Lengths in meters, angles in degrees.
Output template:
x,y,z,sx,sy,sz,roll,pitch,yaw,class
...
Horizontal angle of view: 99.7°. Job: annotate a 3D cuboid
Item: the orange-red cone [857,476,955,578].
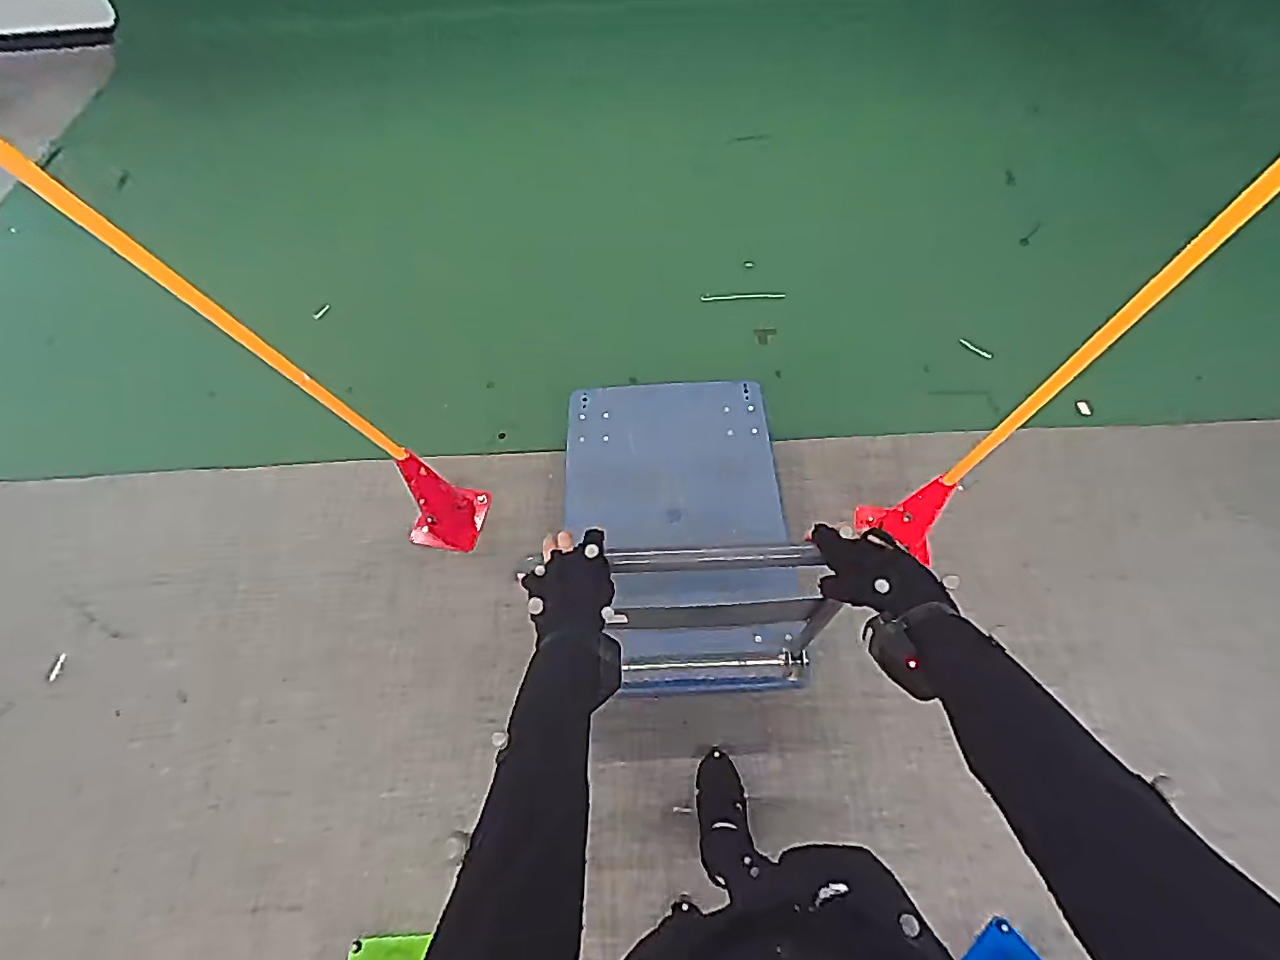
x,y,z,sx,sy,sz,roll,pitch,yaw,class
0.714,0.093,1.392,0.198,0.360,0.199,7,62,7,orange-red cone
